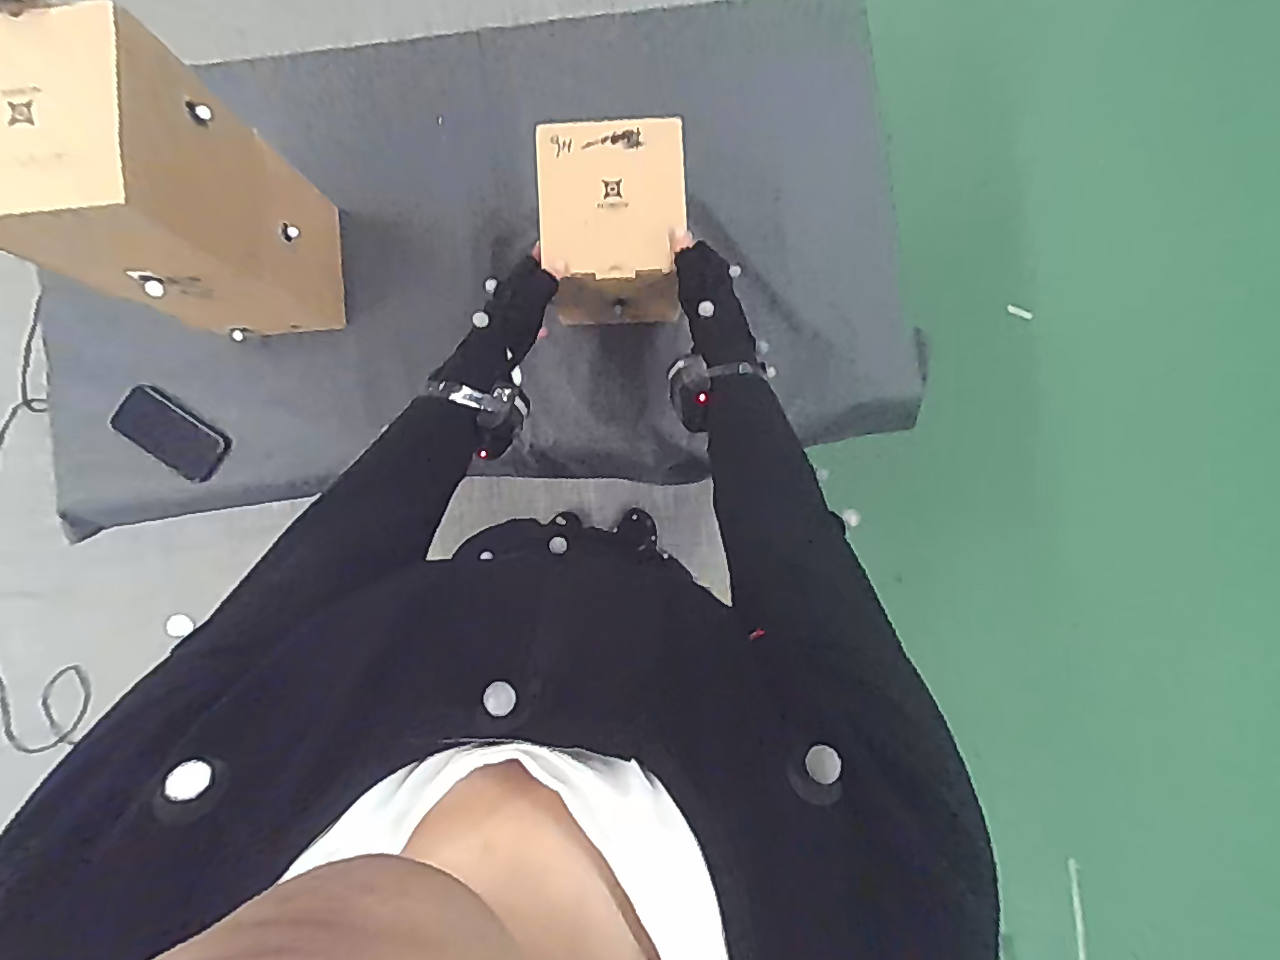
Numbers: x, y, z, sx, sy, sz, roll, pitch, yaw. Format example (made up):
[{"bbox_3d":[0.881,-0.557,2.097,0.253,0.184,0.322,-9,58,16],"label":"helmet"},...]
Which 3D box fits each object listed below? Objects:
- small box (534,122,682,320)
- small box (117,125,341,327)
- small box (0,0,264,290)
[{"bbox_3d":[-0.034,-0.308,0.681,0.168,0.176,0.179,-2,88,0],"label":"small box"},{"bbox_3d":[-0.501,-0.301,0.679,0.168,0.176,0.179,-4,87,-1],"label":"small box"},{"bbox_3d":[-0.499,-0.303,0.517,0.168,0.176,0.179,-5,89,0],"label":"small box"}]
